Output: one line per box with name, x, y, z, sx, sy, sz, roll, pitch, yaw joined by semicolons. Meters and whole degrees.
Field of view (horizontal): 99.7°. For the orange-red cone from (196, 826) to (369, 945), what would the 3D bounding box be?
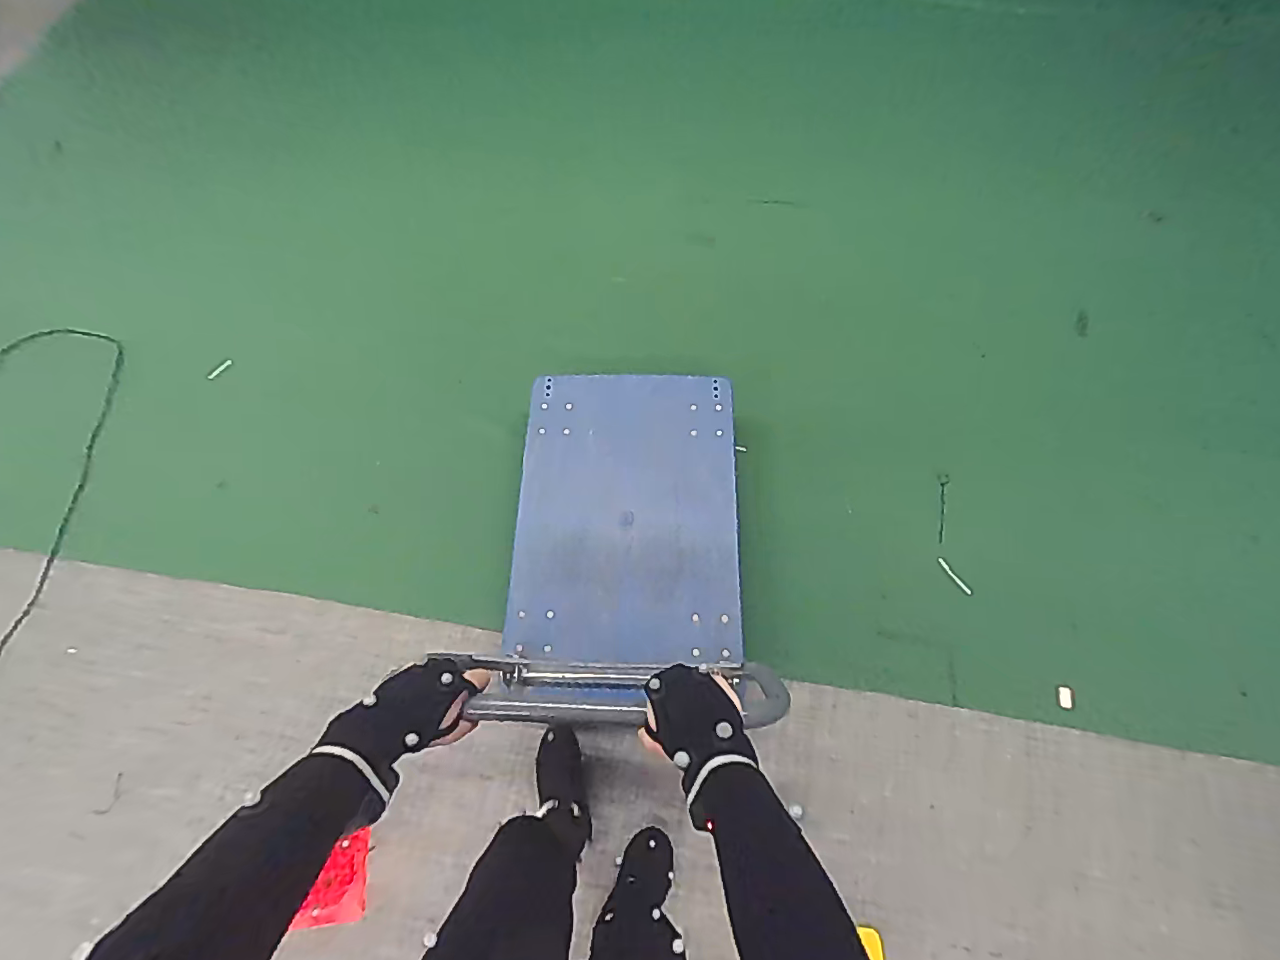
orange-red cone;-0.749;0.860;1.103;0.199;0.360;0.198;-6;67;1
